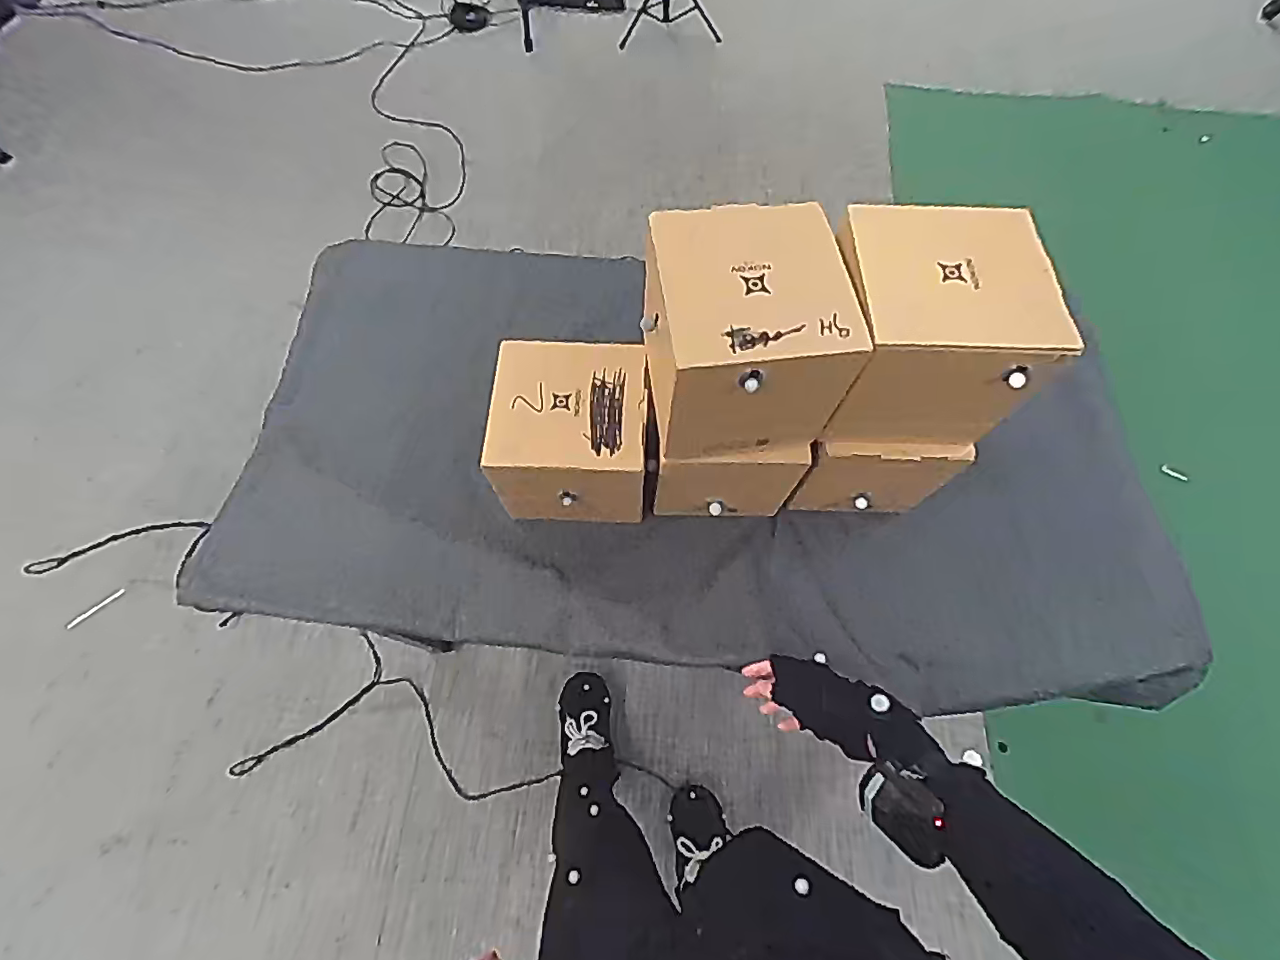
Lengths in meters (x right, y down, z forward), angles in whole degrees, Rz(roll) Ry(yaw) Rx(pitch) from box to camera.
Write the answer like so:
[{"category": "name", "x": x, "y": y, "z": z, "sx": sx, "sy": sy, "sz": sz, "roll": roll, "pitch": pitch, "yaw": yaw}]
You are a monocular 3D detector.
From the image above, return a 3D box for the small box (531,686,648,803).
[{"category": "small box", "x": -0.115, "y": 0.572, "z": 1.190, "sx": 0.179, "sy": 0.176, "sz": 0.168, "roll": 29, "pitch": 82, "yaw": 28}]

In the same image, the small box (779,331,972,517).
[{"category": "small box", "x": 0.282, "y": -0.066, "z": 0.695, "sx": 0.168, "sy": 0.176, "sz": 0.179, "roll": 2, "pitch": 66, "yaw": 1}]
